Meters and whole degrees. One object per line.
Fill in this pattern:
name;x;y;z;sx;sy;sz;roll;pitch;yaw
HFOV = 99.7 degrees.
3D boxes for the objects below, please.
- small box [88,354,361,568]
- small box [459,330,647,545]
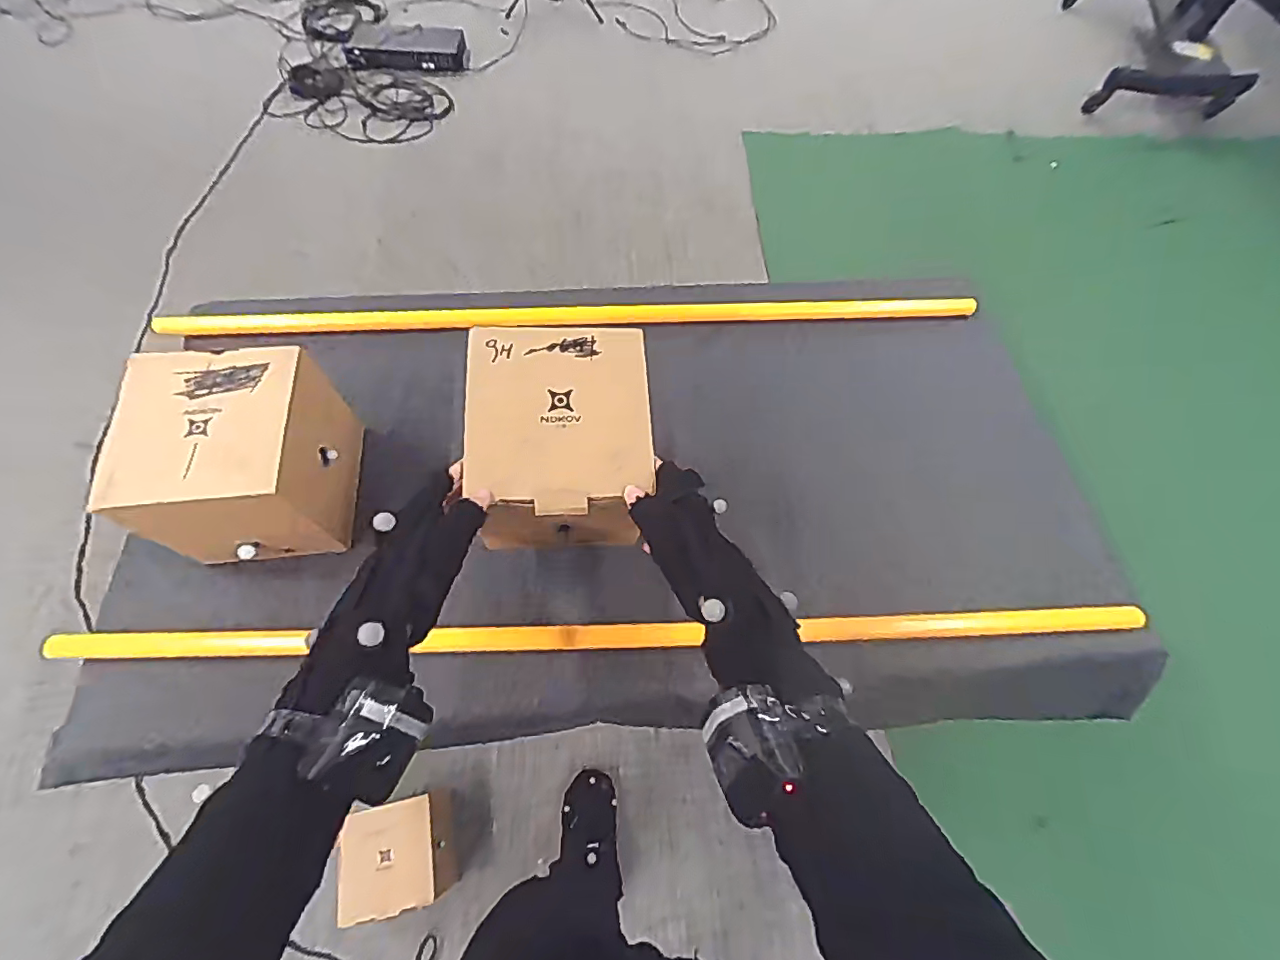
small box;-0.433;-0.016;0.604;0.168;0.176;0.179;-5;64;-6
small box;-0.087;-0.033;0.569;0.168;0.176;0.179;-4;70;-7
